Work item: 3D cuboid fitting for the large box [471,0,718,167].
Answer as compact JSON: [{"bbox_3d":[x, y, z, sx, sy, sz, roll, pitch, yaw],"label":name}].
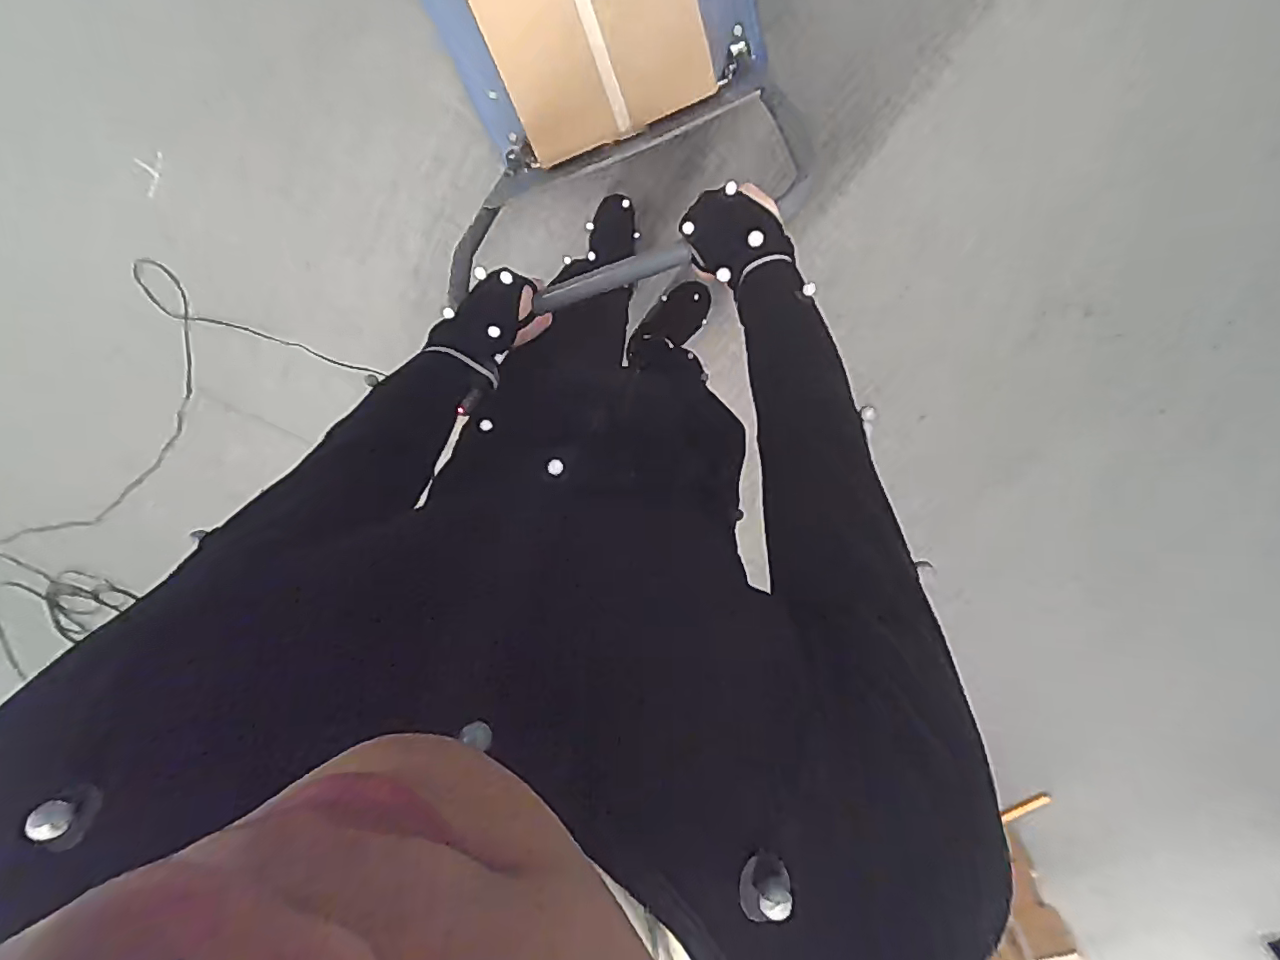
[{"bbox_3d":[-0.082,-0.806,0.876,0.320,0.320,0.408,-15,128,15],"label":"large box"}]
